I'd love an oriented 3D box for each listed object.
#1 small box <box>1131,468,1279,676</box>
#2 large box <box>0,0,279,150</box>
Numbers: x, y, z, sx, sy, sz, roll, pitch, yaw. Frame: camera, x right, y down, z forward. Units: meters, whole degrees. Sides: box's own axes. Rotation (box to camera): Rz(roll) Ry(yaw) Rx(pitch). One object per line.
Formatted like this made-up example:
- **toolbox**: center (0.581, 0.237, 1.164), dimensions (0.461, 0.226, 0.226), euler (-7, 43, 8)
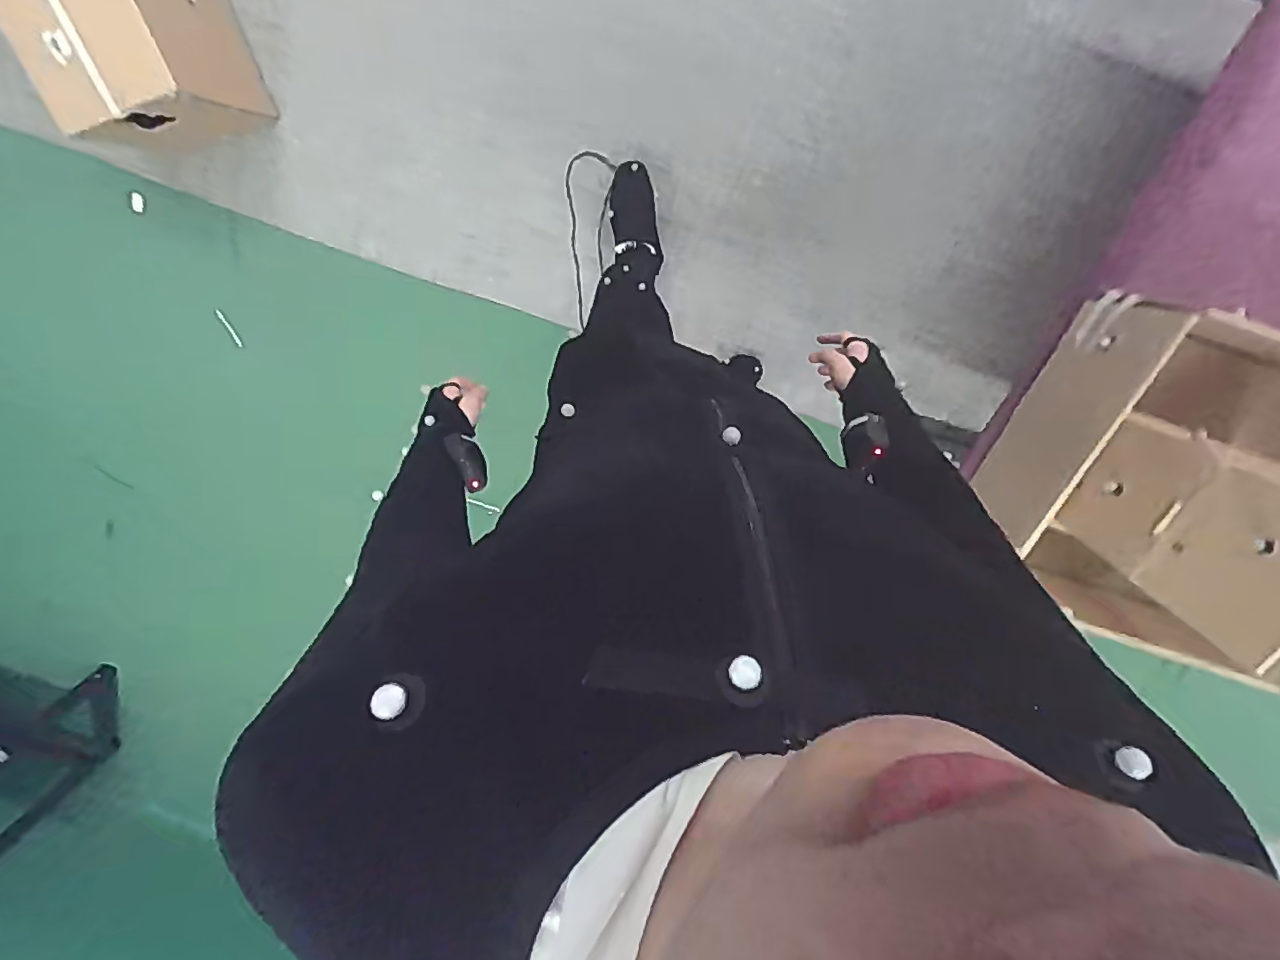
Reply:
- **small box**: center (0.690, 0.104, 0.563), dimensions (0.179, 0.176, 0.168), euler (17, 114, -4)
- **large box**: center (-1.124, -1.015, 1.197), dimensions (0.320, 0.320, 0.408), euler (-11, 114, 12)
